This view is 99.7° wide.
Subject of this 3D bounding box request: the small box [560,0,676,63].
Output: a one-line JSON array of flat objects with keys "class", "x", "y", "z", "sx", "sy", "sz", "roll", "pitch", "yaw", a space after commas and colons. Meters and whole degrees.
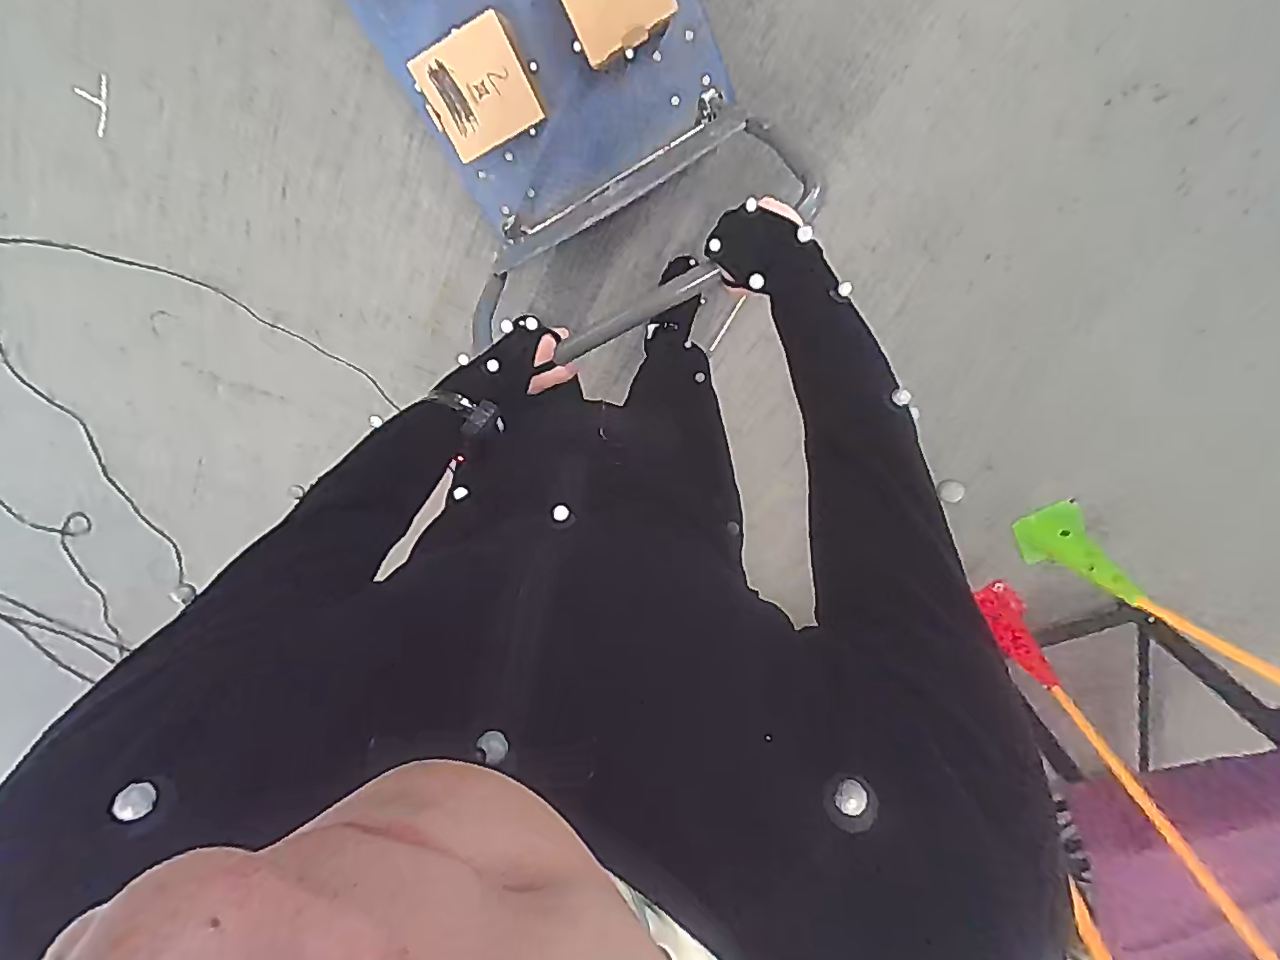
[{"class": "small box", "x": -0.057, "y": -0.850, "z": 0.921, "sx": 0.168, "sy": 0.176, "sz": 0.179, "roll": -25, "pitch": 125, "yaw": 14}]
